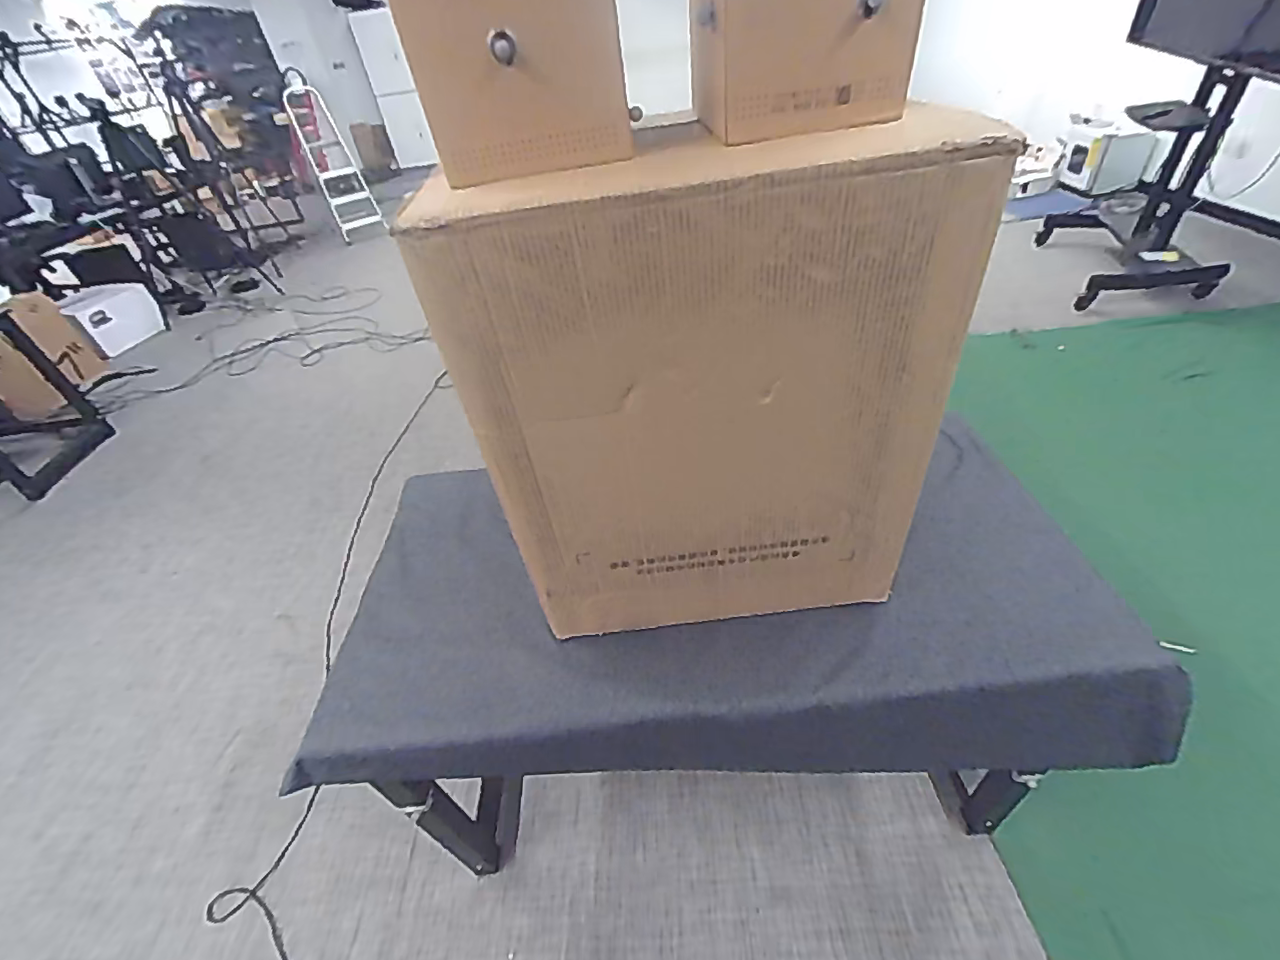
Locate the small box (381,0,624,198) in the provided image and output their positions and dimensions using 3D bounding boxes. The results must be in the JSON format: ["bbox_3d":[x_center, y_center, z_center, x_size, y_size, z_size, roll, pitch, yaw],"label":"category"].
[{"bbox_3d":[-0.113,-0.390,0.509,0.179,0.176,0.168,-10,43,1],"label":"small box"}]

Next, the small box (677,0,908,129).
[{"bbox_3d":[0.132,-0.439,0.493,0.168,0.176,0.179,-12,44,-3],"label":"small box"}]
